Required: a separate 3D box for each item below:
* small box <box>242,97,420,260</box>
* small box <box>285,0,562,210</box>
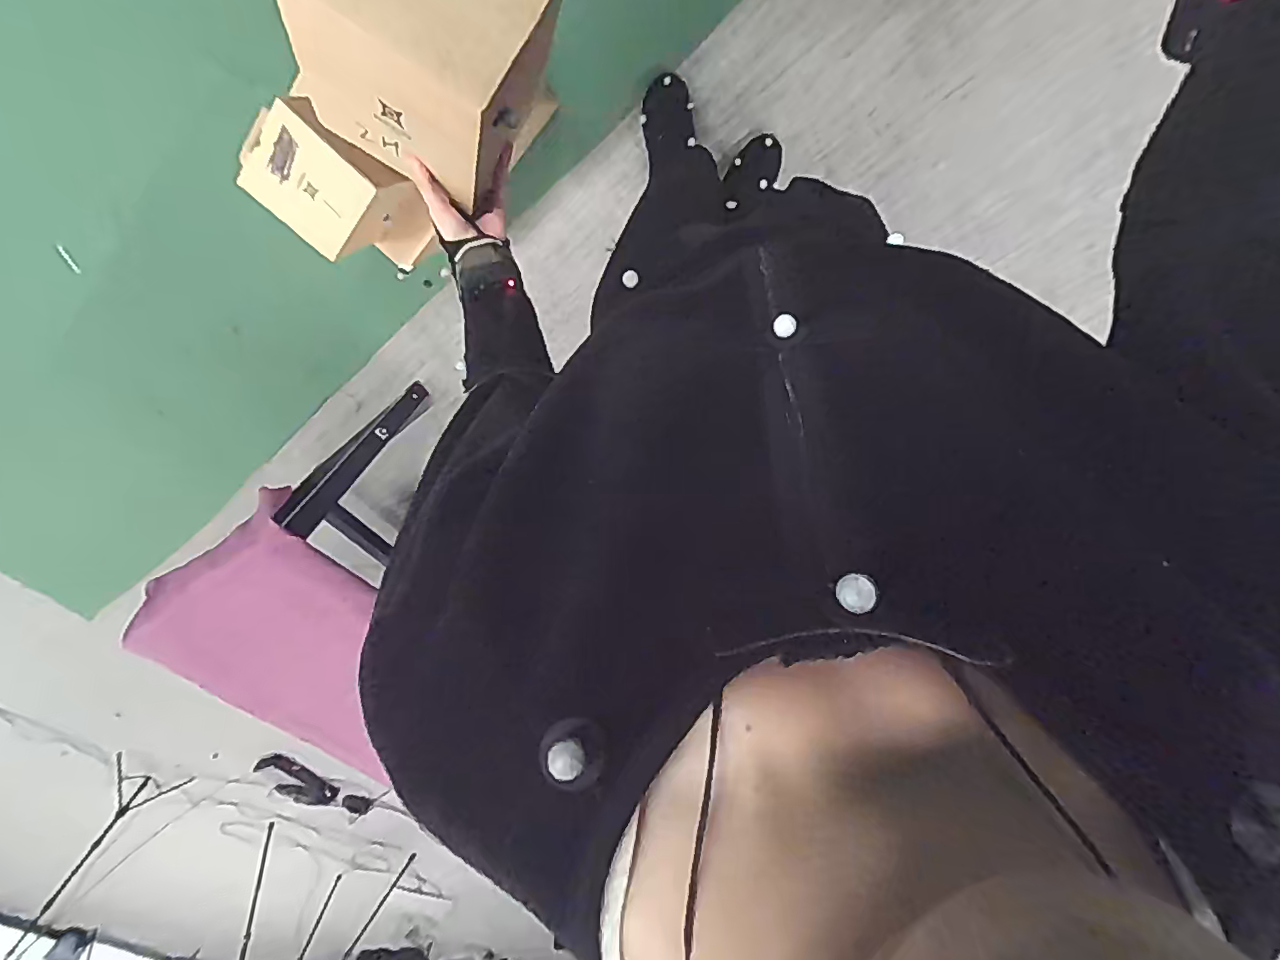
[{"bbox_3d":[-0.527,-0.522,0.942,0.168,0.176,0.179,-37,114,27],"label":"small box"},{"bbox_3d":[-0.186,-0.403,0.495,0.168,0.179,0.176,29,79,-17],"label":"small box"}]
